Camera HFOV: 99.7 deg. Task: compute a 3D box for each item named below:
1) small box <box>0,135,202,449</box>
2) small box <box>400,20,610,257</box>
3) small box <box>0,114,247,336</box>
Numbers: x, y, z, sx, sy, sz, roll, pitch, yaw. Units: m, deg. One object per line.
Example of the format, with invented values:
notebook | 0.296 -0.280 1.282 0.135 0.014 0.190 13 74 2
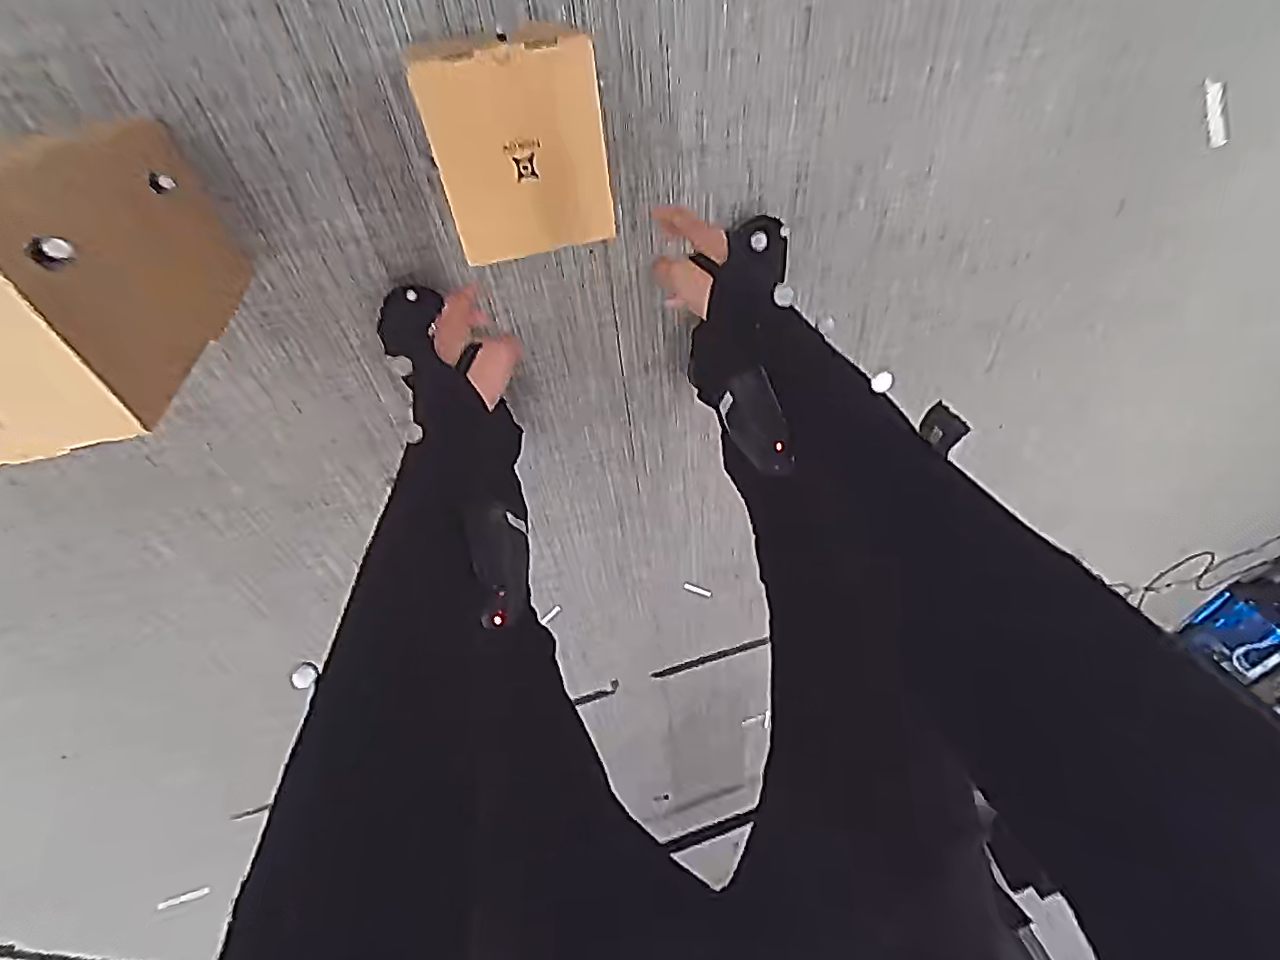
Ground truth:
small box | -0.492 -0.144 0.411 0.168 0.176 0.179 -14 134 -8
small box | -0.139 -0.369 0.581 0.168 0.176 0.179 -16 134 -8
small box | -0.536 -0.243 0.533 0.168 0.176 0.179 -14 134 -8
